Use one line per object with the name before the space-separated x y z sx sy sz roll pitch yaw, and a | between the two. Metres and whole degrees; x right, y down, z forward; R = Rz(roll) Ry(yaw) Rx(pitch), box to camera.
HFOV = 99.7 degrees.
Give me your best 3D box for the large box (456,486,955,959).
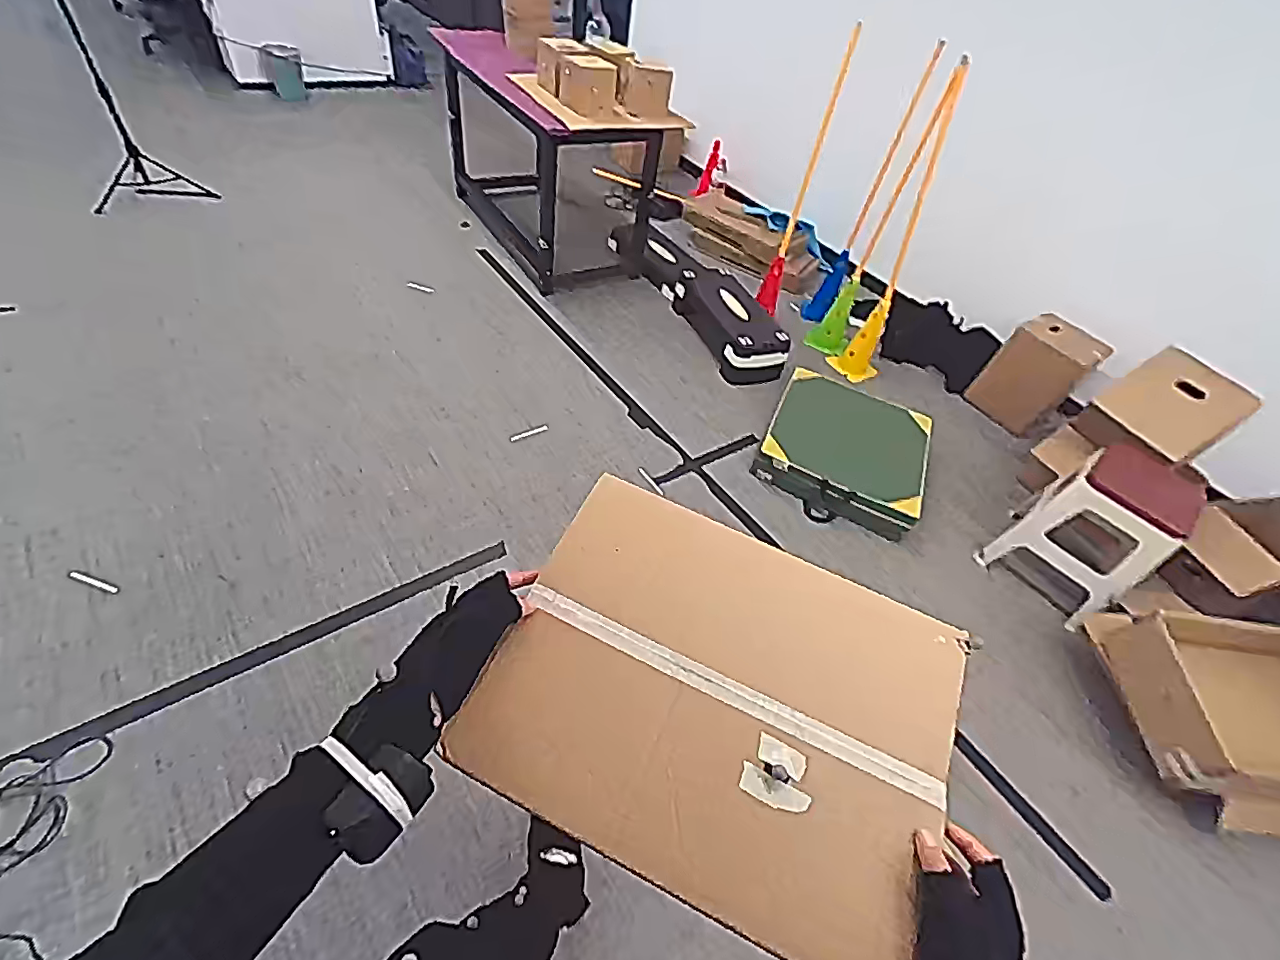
large box | 0.068 0.273 0.635 0.408 0.320 0.320 24 61 10
